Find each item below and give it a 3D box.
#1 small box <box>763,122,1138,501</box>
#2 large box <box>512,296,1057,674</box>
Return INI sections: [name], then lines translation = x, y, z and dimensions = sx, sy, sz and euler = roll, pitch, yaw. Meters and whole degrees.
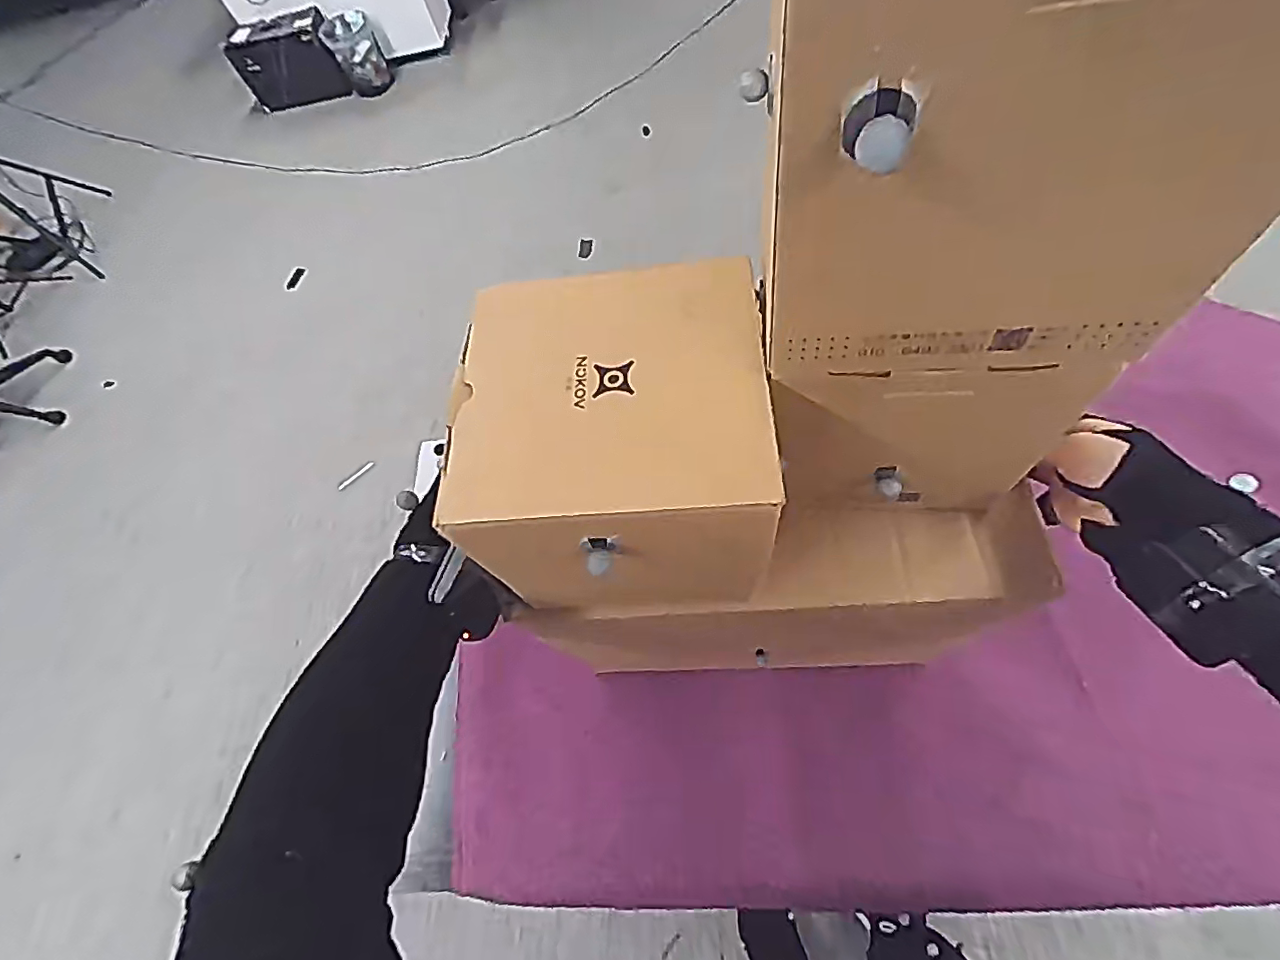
[small box]
translation = 0.171, -0.101, 0.370
dimensions = 0.168, 0.176, 0.179
euler = 0, 63, 12
[large box]
translation = 0.117, 0.025, 0.595
dimensions = 0.408, 0.320, 0.320
euler = -6, 61, 9
